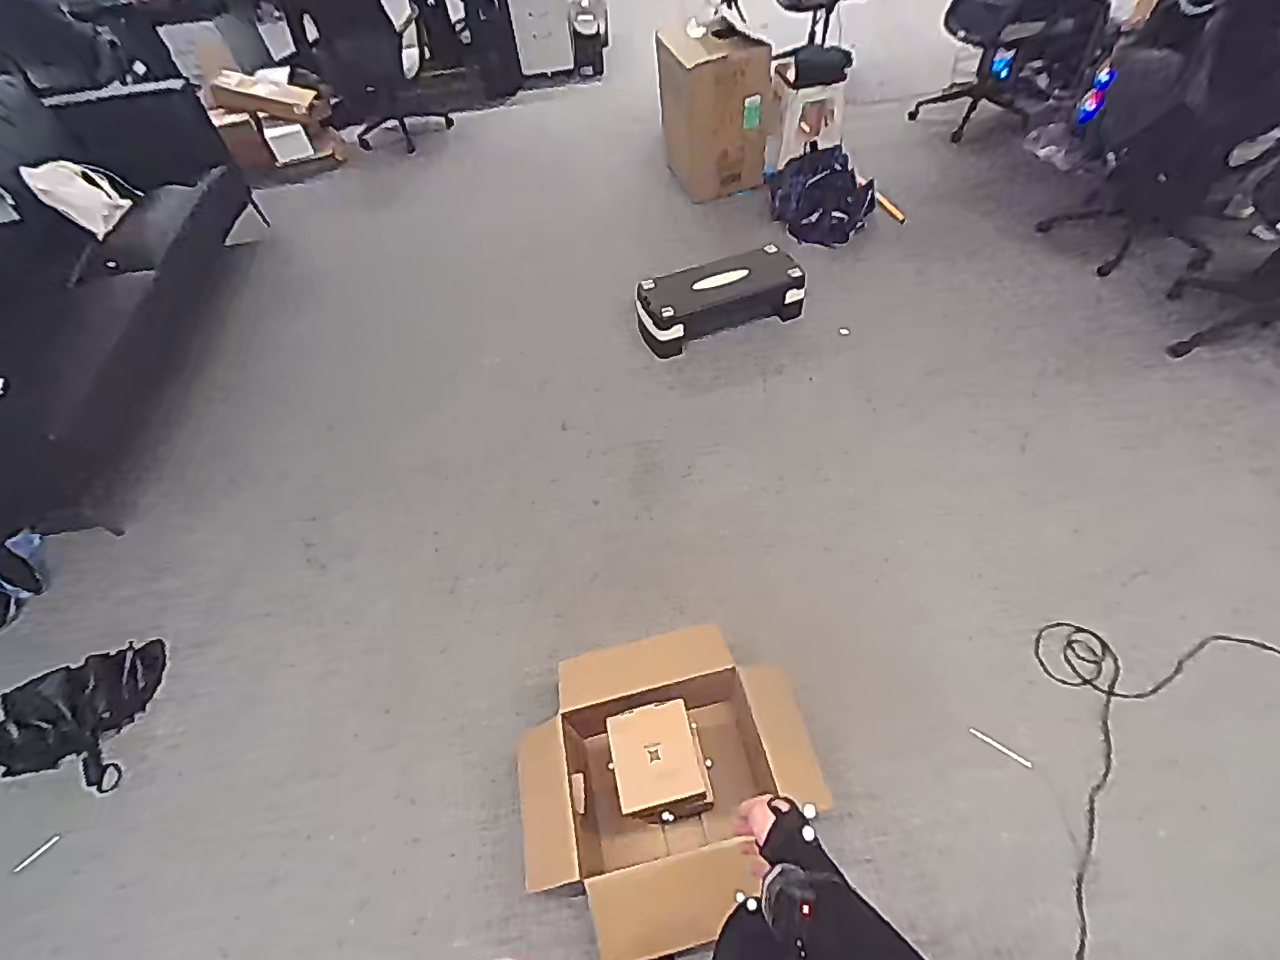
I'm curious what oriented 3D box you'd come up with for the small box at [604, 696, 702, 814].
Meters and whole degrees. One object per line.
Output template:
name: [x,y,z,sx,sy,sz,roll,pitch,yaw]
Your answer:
small box: [0.027,0.579,1.132,0.168,0.176,0.179,-14,55,-2]
